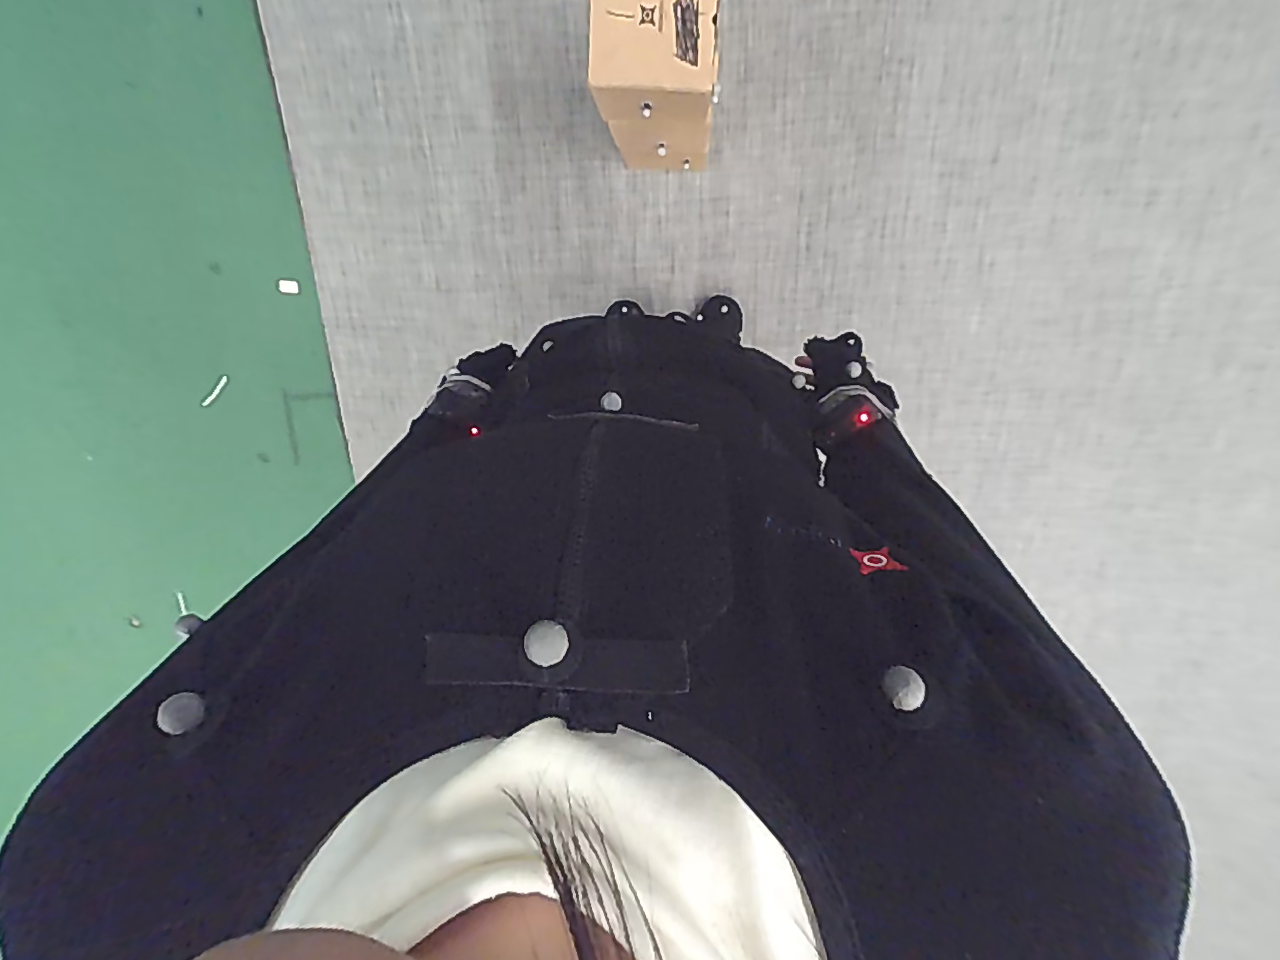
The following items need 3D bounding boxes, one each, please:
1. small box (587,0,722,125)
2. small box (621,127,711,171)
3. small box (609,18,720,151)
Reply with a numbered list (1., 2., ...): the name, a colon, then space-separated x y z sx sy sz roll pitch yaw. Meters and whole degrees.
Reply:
1. small box: 0.026 -0.650 0.805 0.179 0.176 0.168 7 109 4
2. small box: 0.057 -0.750 1.117 0.179 0.176 0.168 2 108 5
3. small box: 0.041 -0.701 0.961 0.179 0.176 0.168 4 109 3
